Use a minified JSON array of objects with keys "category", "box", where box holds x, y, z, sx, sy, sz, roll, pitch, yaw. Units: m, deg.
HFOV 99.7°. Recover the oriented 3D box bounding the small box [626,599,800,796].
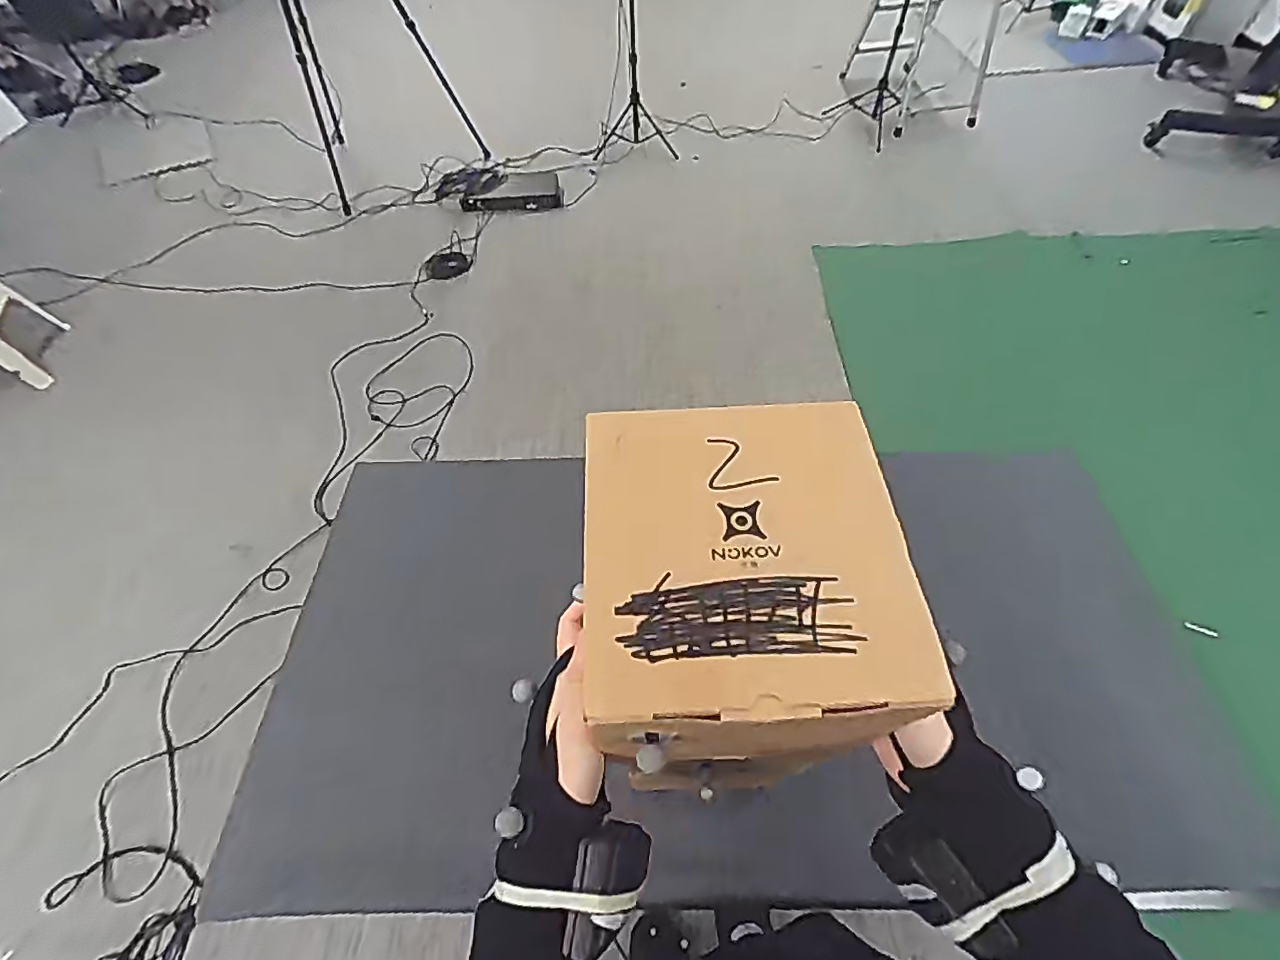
[{"category":"small box","box":[0.069,0.251,0.618,0.168,0.176,0.179,-3,55,1]}]
